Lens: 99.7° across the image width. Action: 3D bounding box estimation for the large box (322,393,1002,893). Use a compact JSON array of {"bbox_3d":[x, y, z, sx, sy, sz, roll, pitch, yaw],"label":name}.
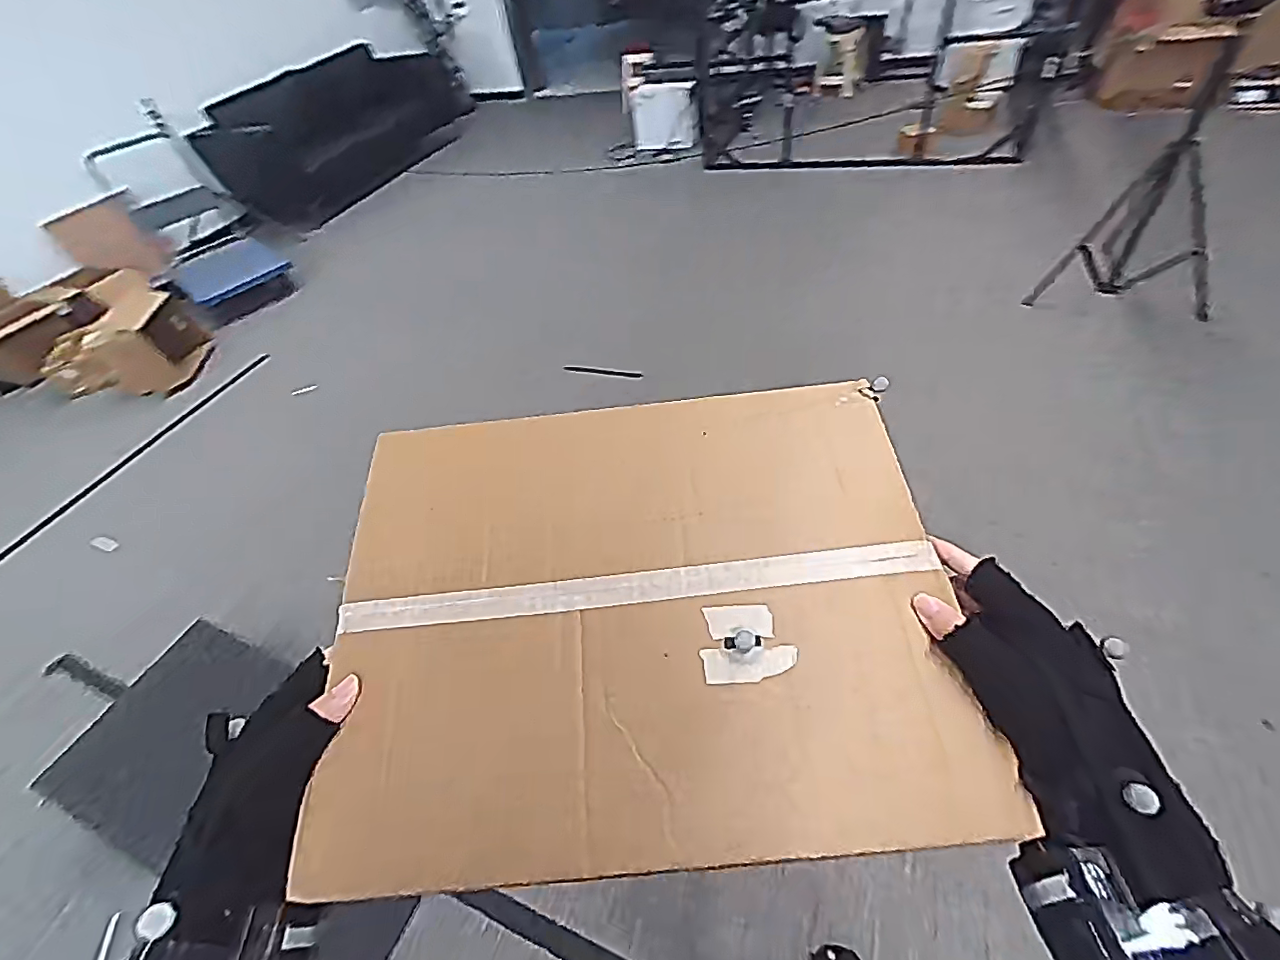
[{"bbox_3d":[0.006,0.157,0.511,0.408,0.320,0.320,-7,59,1],"label":"large box"}]
